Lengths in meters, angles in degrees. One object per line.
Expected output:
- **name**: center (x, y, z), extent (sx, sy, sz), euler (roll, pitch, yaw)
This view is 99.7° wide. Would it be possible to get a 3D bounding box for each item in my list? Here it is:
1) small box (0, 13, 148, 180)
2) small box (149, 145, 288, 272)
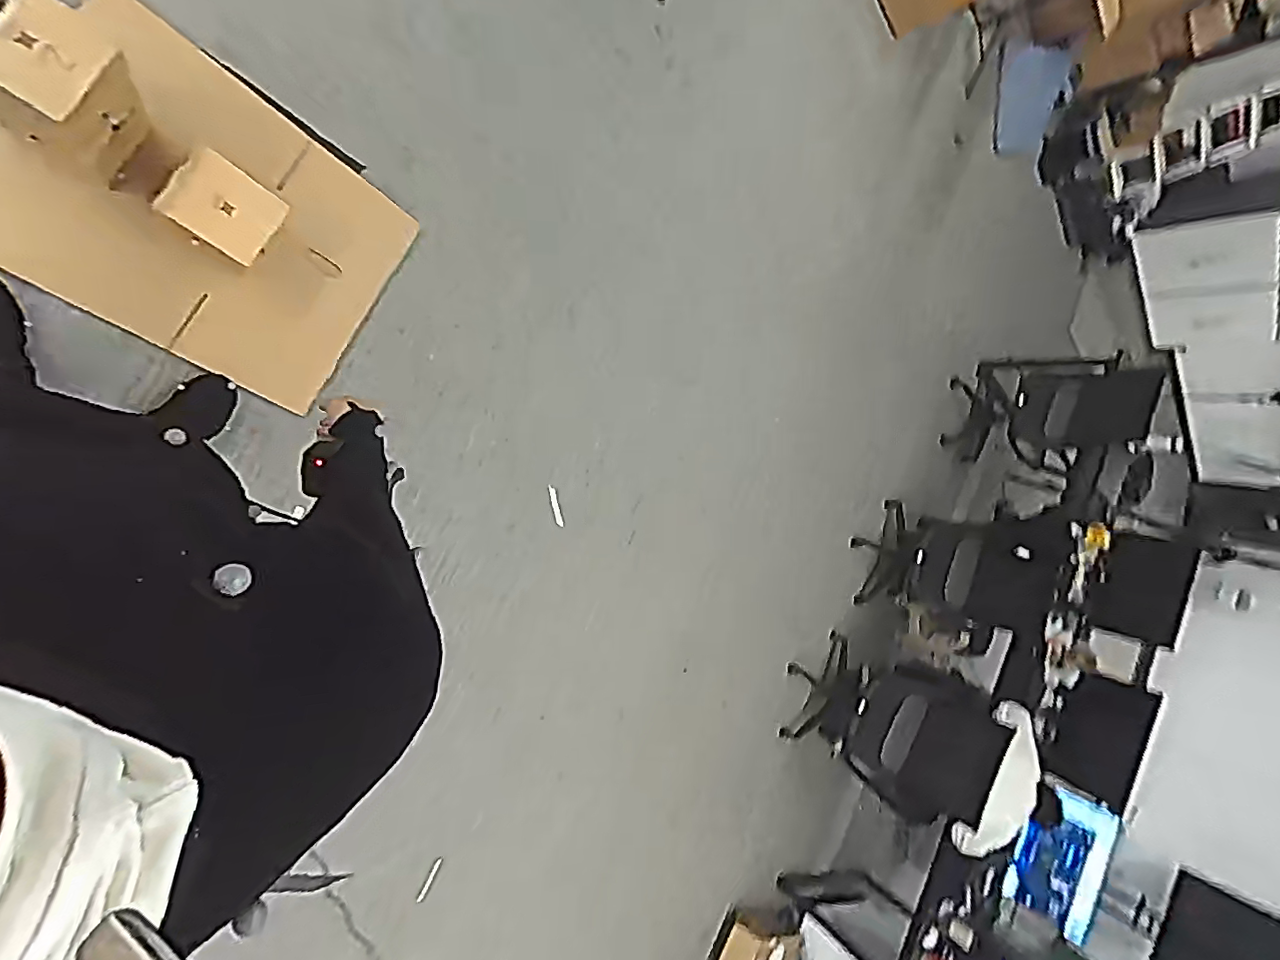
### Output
- **small box**: center (-1.080, -0.700, 1.018), extent (0.179, 0.176, 0.168), euler (33, 79, -35)
- **small box**: center (-0.907, -0.575, 1.176), extent (0.179, 0.176, 0.168), euler (35, 78, -36)
